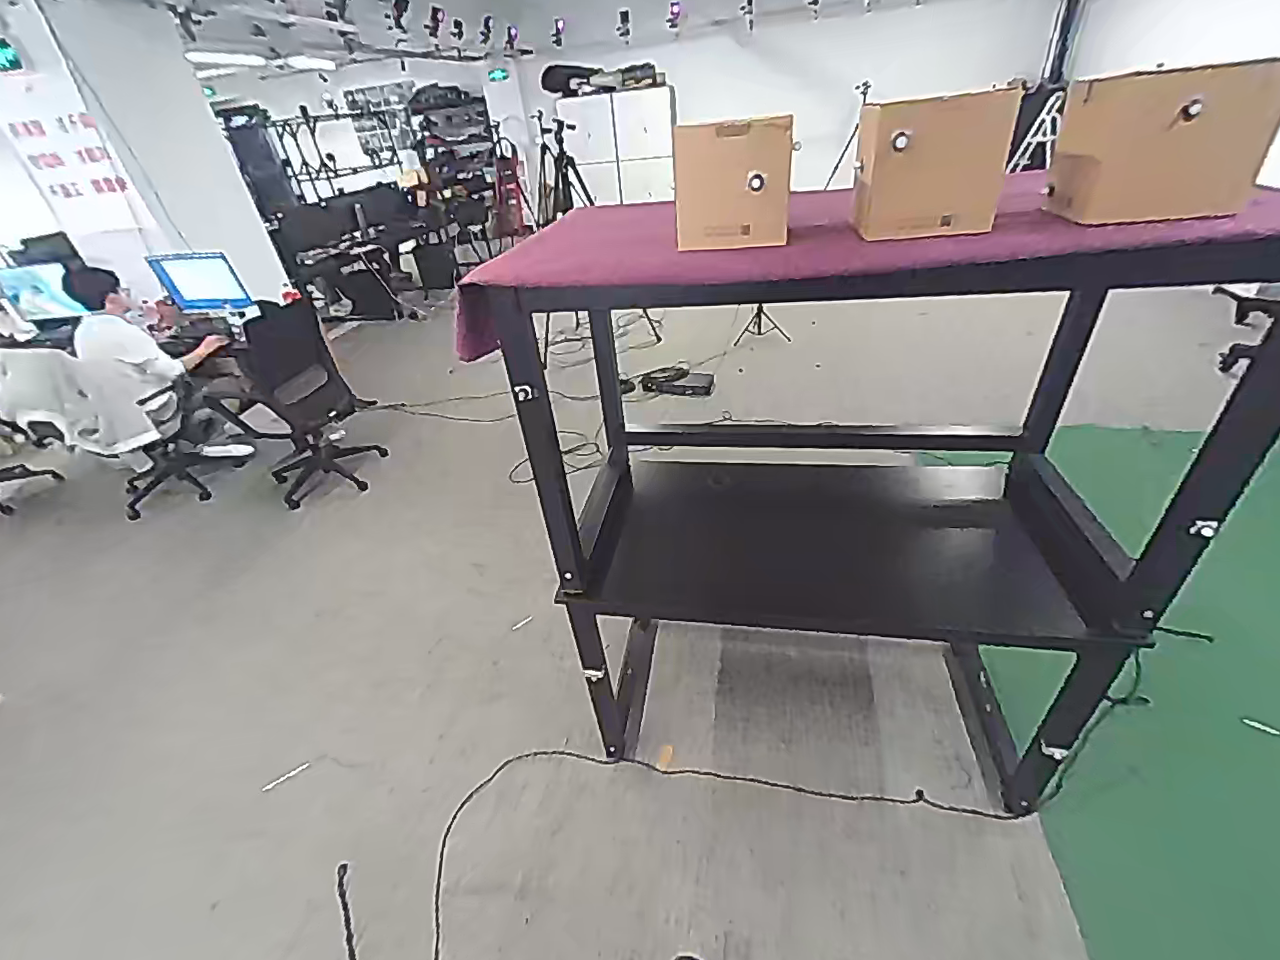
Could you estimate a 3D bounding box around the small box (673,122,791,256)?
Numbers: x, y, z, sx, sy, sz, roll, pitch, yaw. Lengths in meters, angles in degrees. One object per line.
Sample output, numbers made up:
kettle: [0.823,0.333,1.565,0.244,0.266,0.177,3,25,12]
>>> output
small box: [0.152,-0.460,0.862,0.168,0.176,0.179,3,34,13]

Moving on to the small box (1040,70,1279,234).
small box: [0.692,-0.446,0.748,0.179,0.176,0.168,2,34,12]
